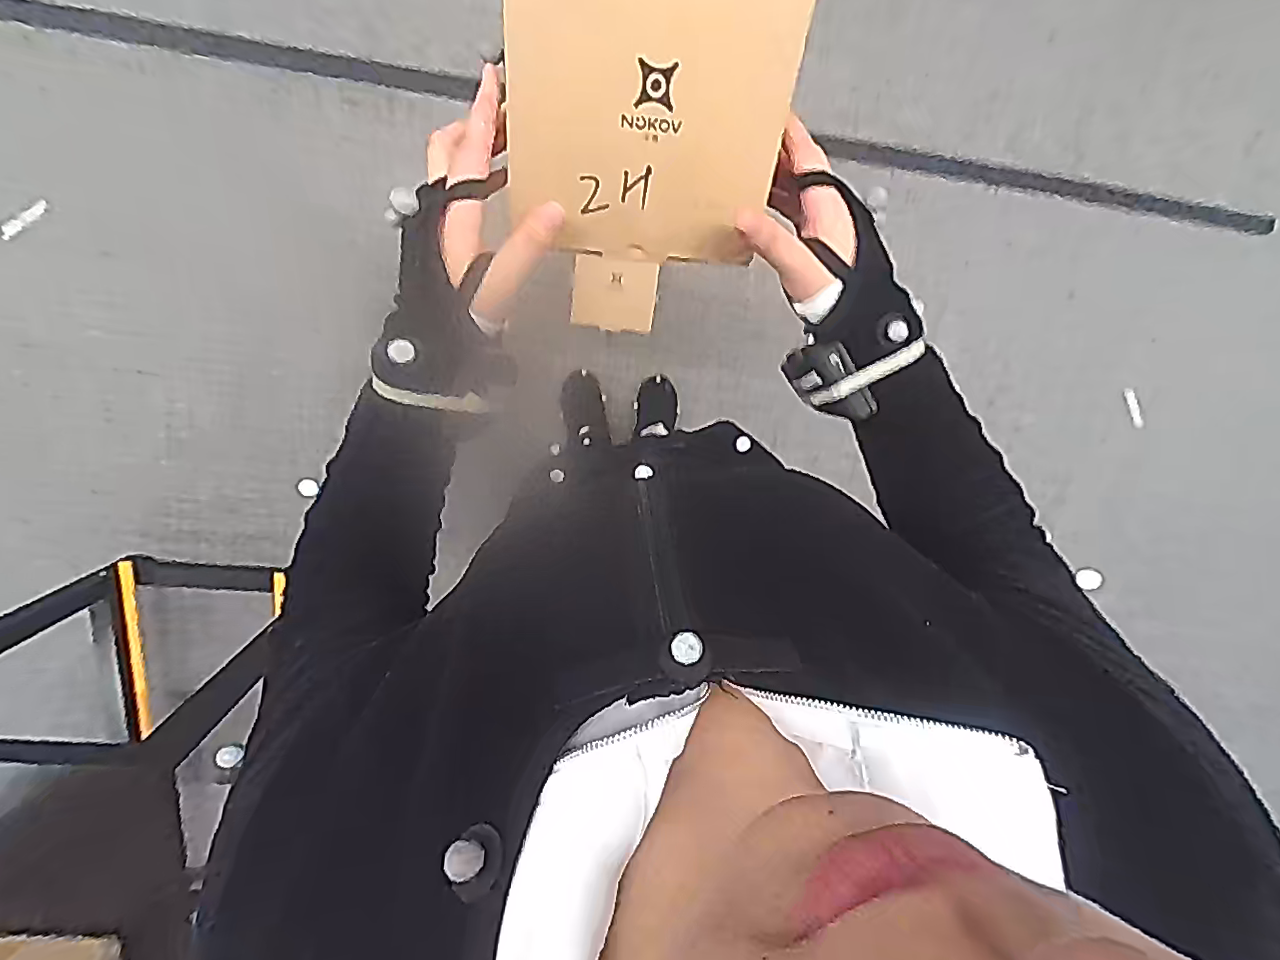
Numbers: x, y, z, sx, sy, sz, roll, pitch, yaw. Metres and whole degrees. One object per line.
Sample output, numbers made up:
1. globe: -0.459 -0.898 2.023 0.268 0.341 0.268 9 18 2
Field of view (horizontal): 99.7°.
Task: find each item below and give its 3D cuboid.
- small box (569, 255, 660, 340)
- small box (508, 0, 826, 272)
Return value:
1. small box: -0.054 -0.399 1.143 0.168 0.176 0.179 7 105 -6
2. small box: -0.001 -0.260 0.361 0.168 0.176 0.179 1 129 -10
